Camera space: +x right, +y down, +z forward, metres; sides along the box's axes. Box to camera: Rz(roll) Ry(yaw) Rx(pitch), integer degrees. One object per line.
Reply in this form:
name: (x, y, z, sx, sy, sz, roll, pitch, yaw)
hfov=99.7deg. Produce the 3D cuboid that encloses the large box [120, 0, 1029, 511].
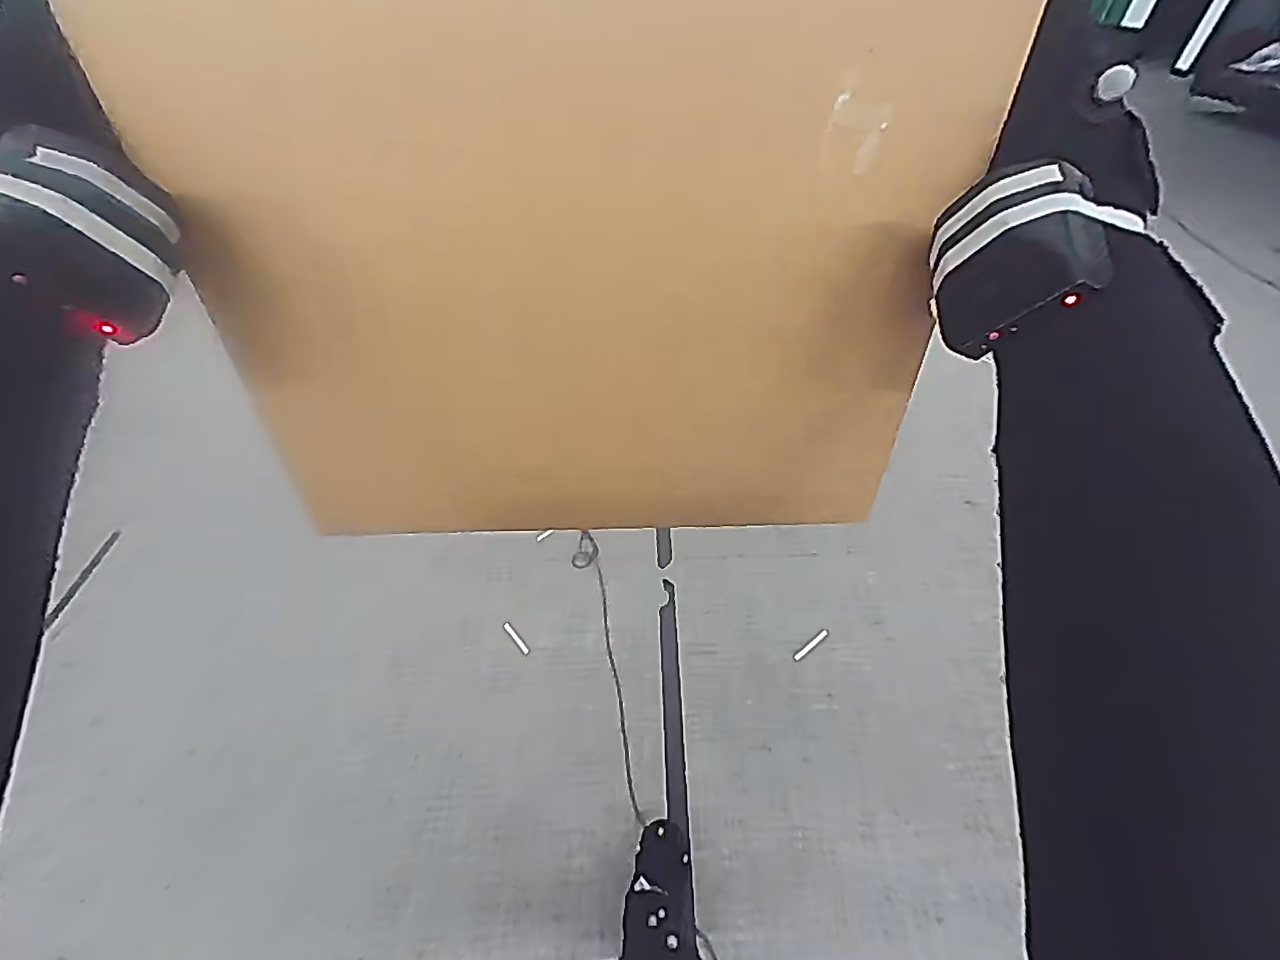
large box: (-0.033, -0.188, 0.430, 0.408, 0.320, 0.320, 0, 38, -2)
